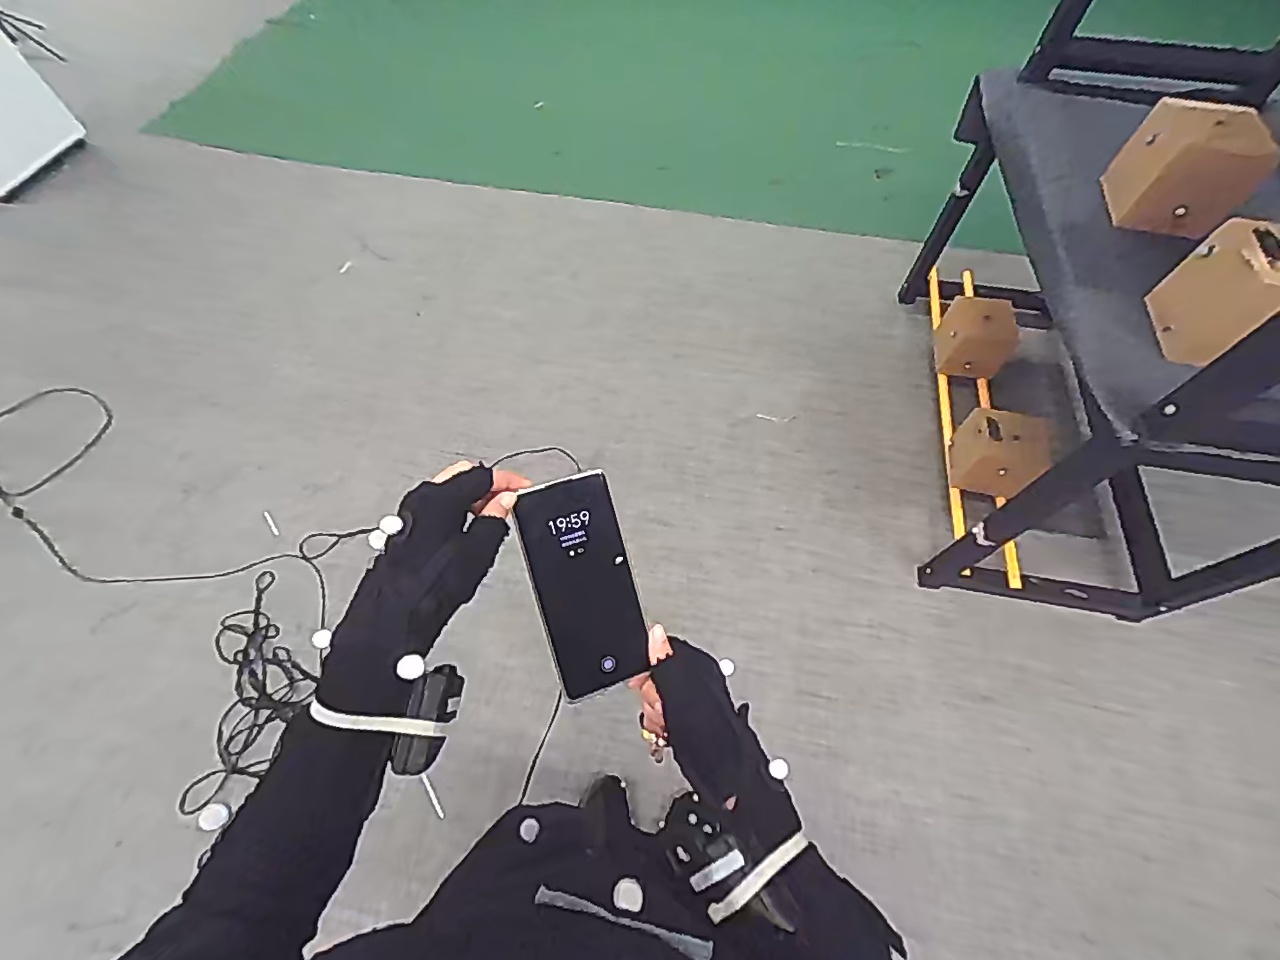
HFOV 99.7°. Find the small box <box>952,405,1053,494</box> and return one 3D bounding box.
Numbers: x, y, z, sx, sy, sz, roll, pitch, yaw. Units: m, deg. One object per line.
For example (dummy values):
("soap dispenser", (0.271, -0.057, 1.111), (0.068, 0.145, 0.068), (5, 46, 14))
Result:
("small box", (0.975, -0.078, 1.475), (0.179, 0.176, 0.168), (12, 61, 7))

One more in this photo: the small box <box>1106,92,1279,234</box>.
("small box", (1.074, -0.623, 1.067), (0.168, 0.176, 0.179), (12, 61, 7))
